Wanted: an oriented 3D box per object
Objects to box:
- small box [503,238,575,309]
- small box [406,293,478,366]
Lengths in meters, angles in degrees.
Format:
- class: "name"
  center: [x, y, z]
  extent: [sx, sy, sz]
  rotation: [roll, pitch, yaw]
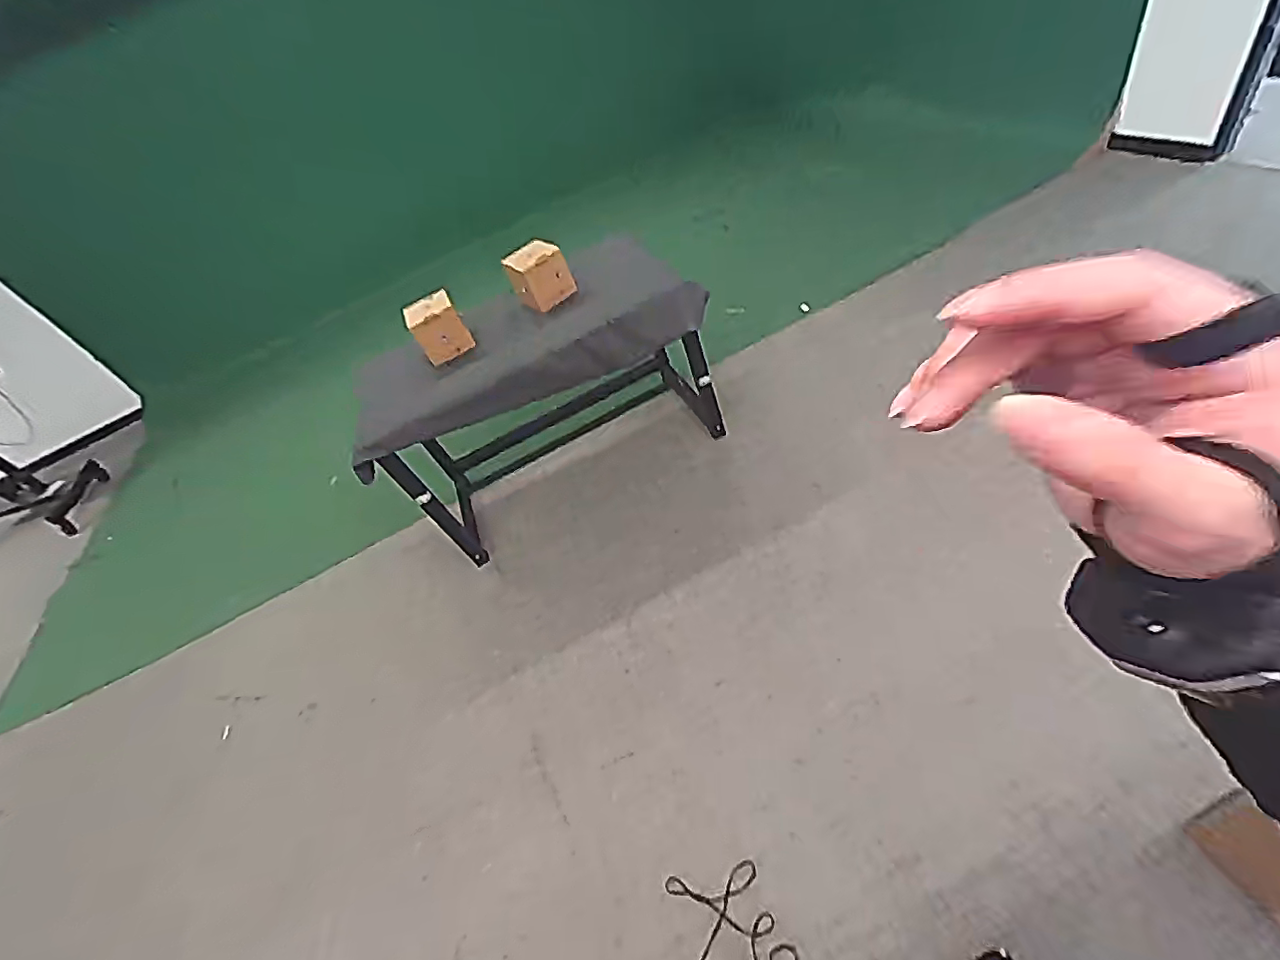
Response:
- class: "small box"
  center: [-0.362, -0.745, 1.958]
  extent: [0.168, 0.176, 0.179]
  rotation: [-36, 45, -15]
- class: "small box"
  center: [-0.707, -0.534, 1.940]
  extent: [0.168, 0.176, 0.179]
  rotation: [-33, 44, -6]
